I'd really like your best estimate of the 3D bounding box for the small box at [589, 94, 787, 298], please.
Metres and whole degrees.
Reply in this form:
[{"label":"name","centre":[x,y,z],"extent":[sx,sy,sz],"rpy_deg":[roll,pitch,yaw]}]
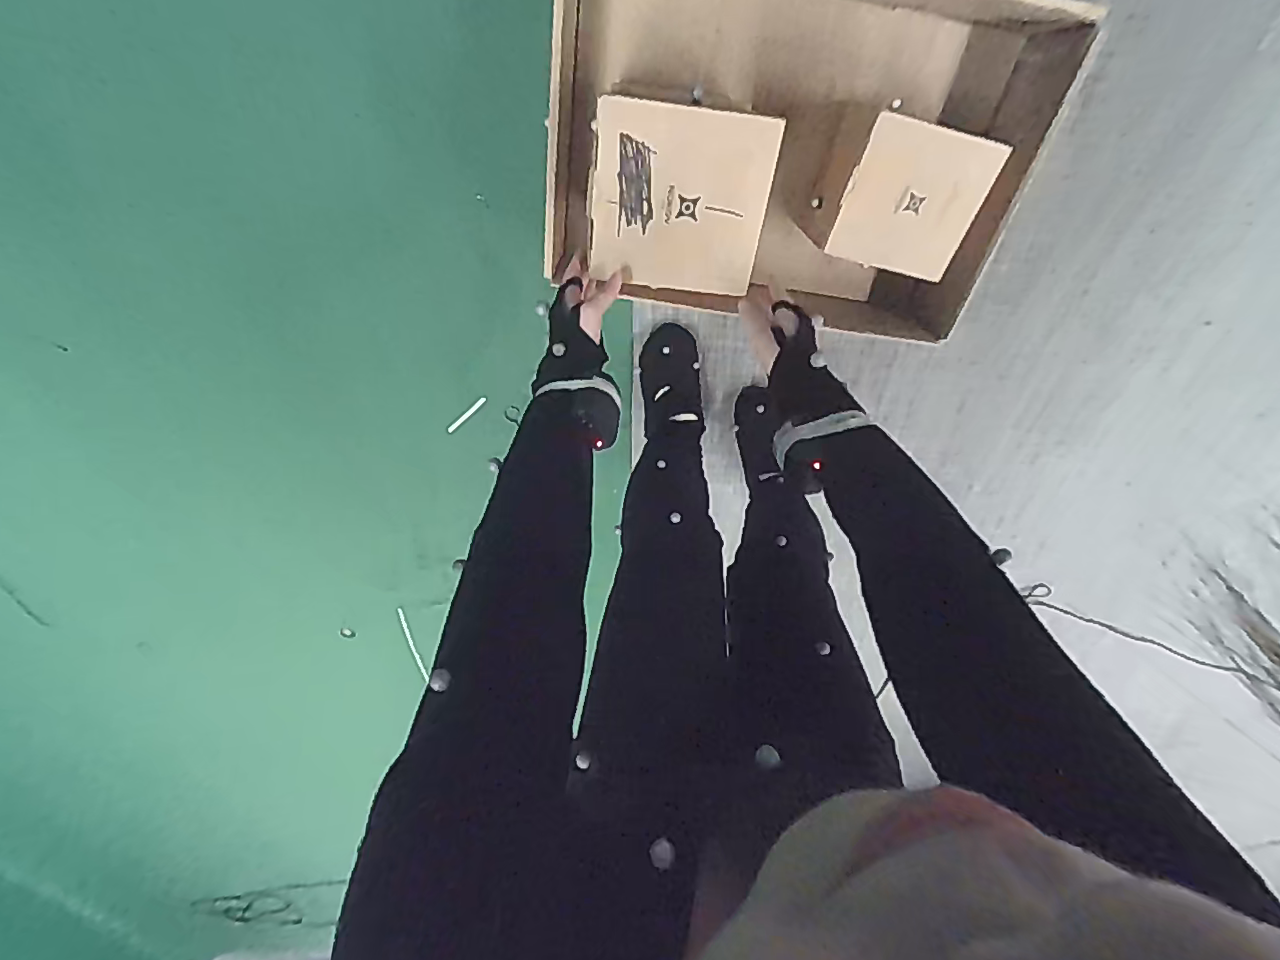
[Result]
[{"label":"small box","centre":[0.041,-0.321,0.607],"extent":[0.179,0.176,0.168],"rpy_deg":[5,126,-5]}]
